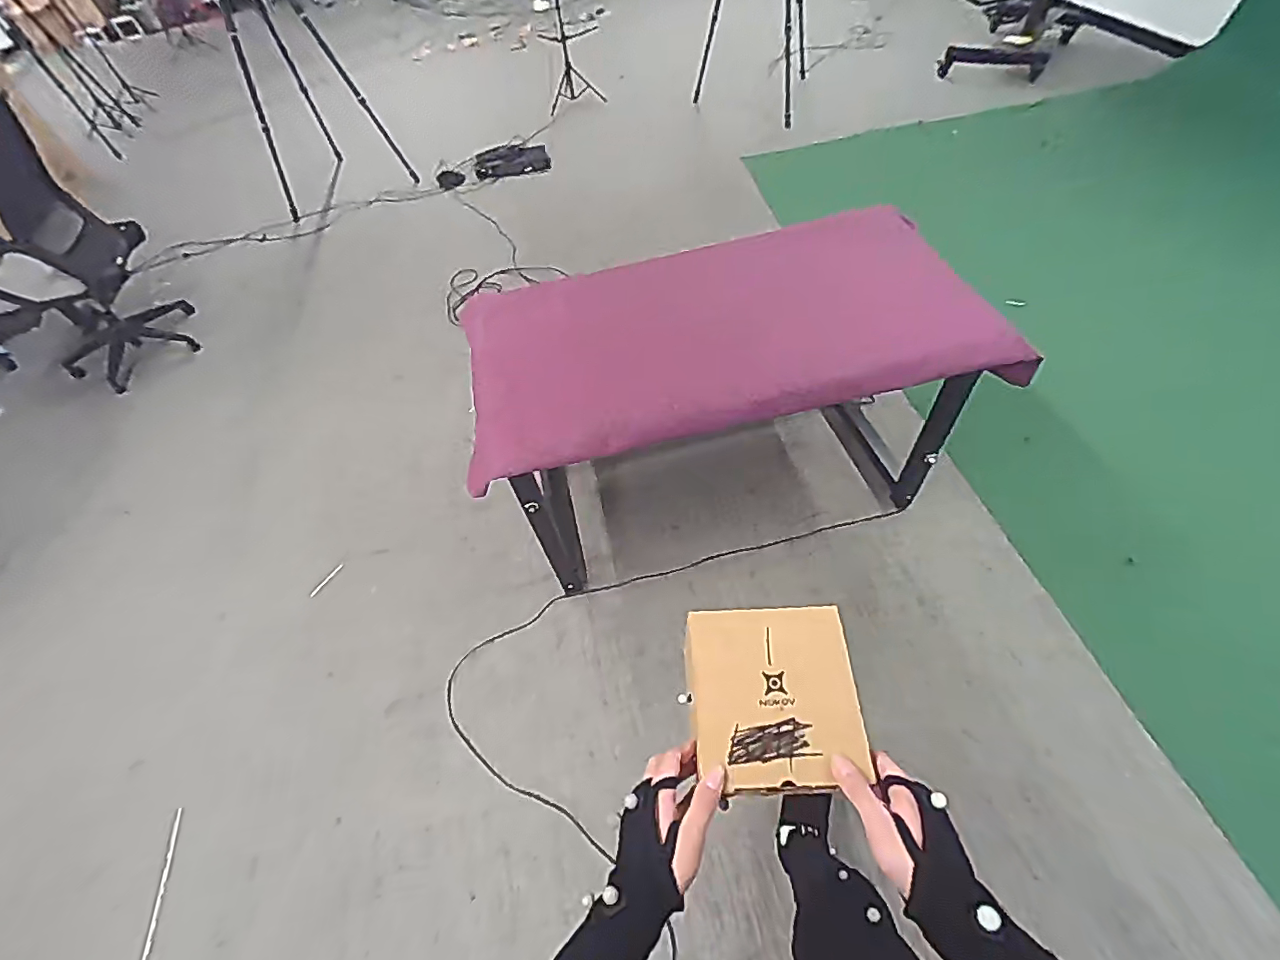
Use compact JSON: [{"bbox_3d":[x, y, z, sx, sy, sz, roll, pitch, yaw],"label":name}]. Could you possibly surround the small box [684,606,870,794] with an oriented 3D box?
[{"bbox_3d":[0.137,0.256,0.616,0.168,0.176,0.179,-2,57,1],"label":"small box"}]
